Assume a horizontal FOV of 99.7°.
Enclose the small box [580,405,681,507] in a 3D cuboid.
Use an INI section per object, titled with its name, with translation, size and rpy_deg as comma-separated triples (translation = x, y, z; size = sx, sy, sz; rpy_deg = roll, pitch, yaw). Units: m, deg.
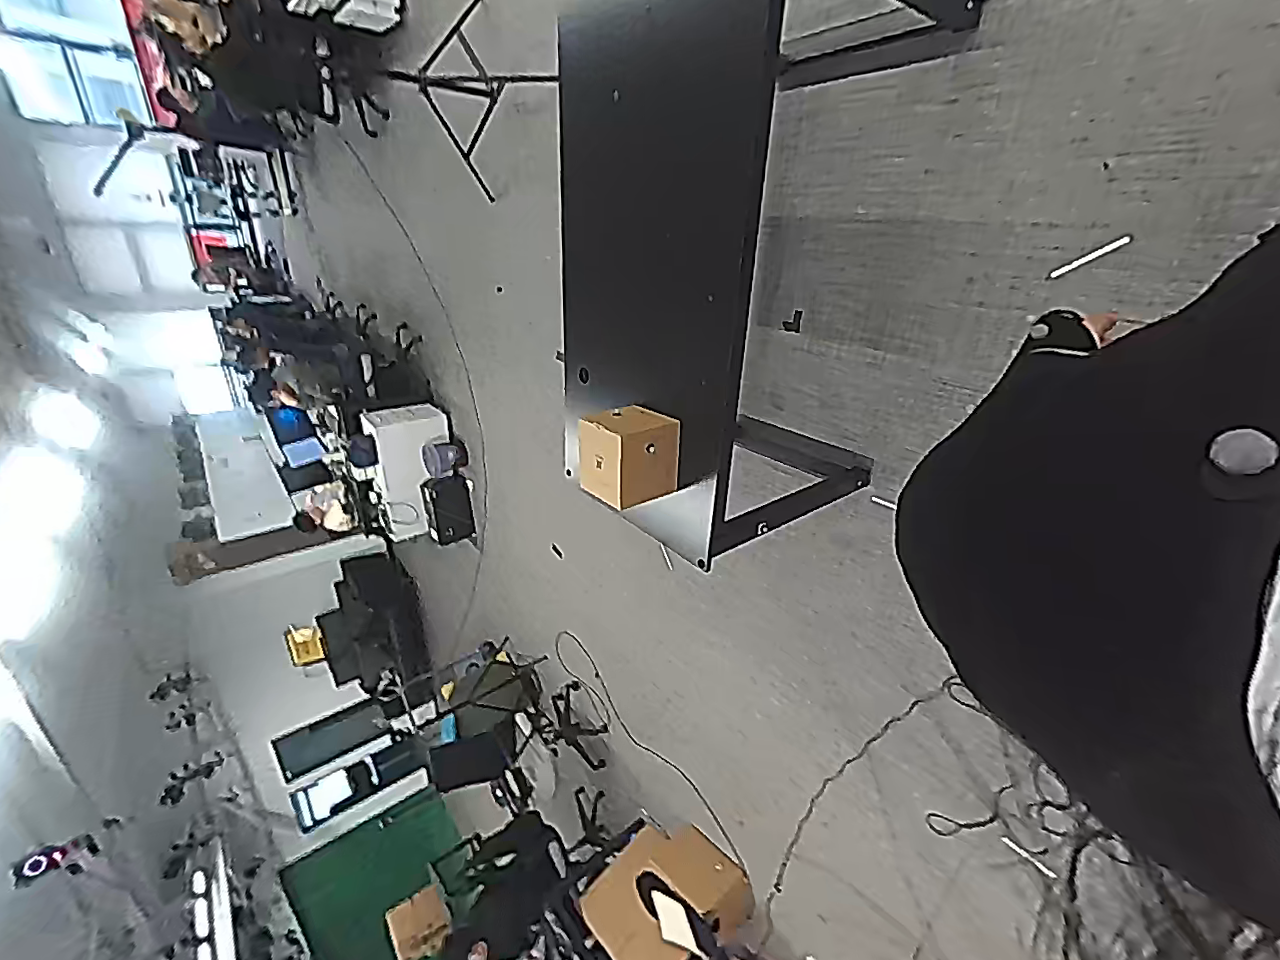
[small box]
translation = -0.020, -0.064, 1.237
size = 0.168, 0.176, 0.179
rpy_deg = 28, 126, 46
